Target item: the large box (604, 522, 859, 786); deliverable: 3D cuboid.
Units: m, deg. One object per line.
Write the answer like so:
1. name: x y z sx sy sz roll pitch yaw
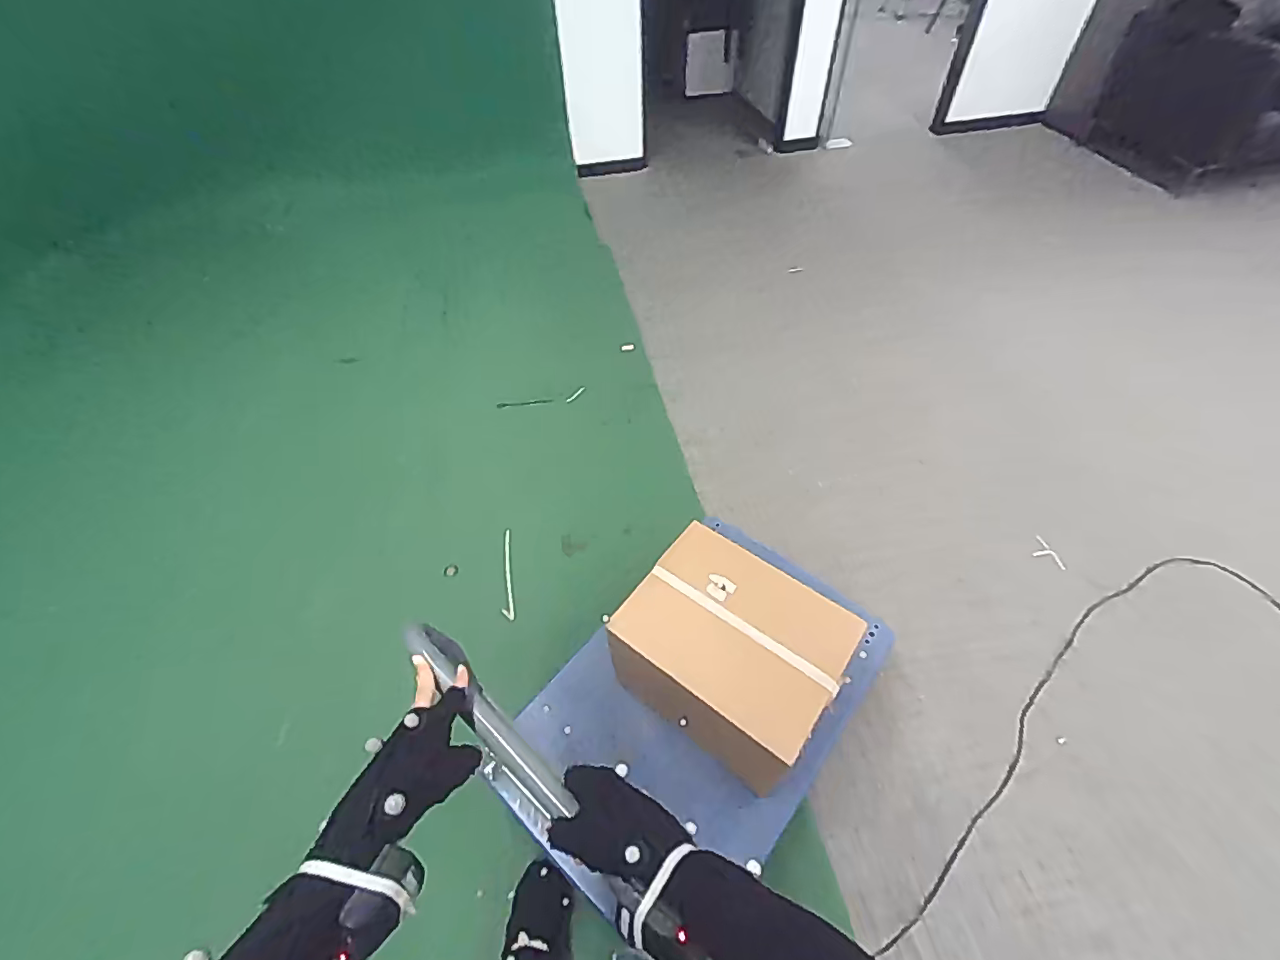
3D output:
1. large box: 0.184 0.368 1.160 0.408 0.320 0.320 30 58 24
